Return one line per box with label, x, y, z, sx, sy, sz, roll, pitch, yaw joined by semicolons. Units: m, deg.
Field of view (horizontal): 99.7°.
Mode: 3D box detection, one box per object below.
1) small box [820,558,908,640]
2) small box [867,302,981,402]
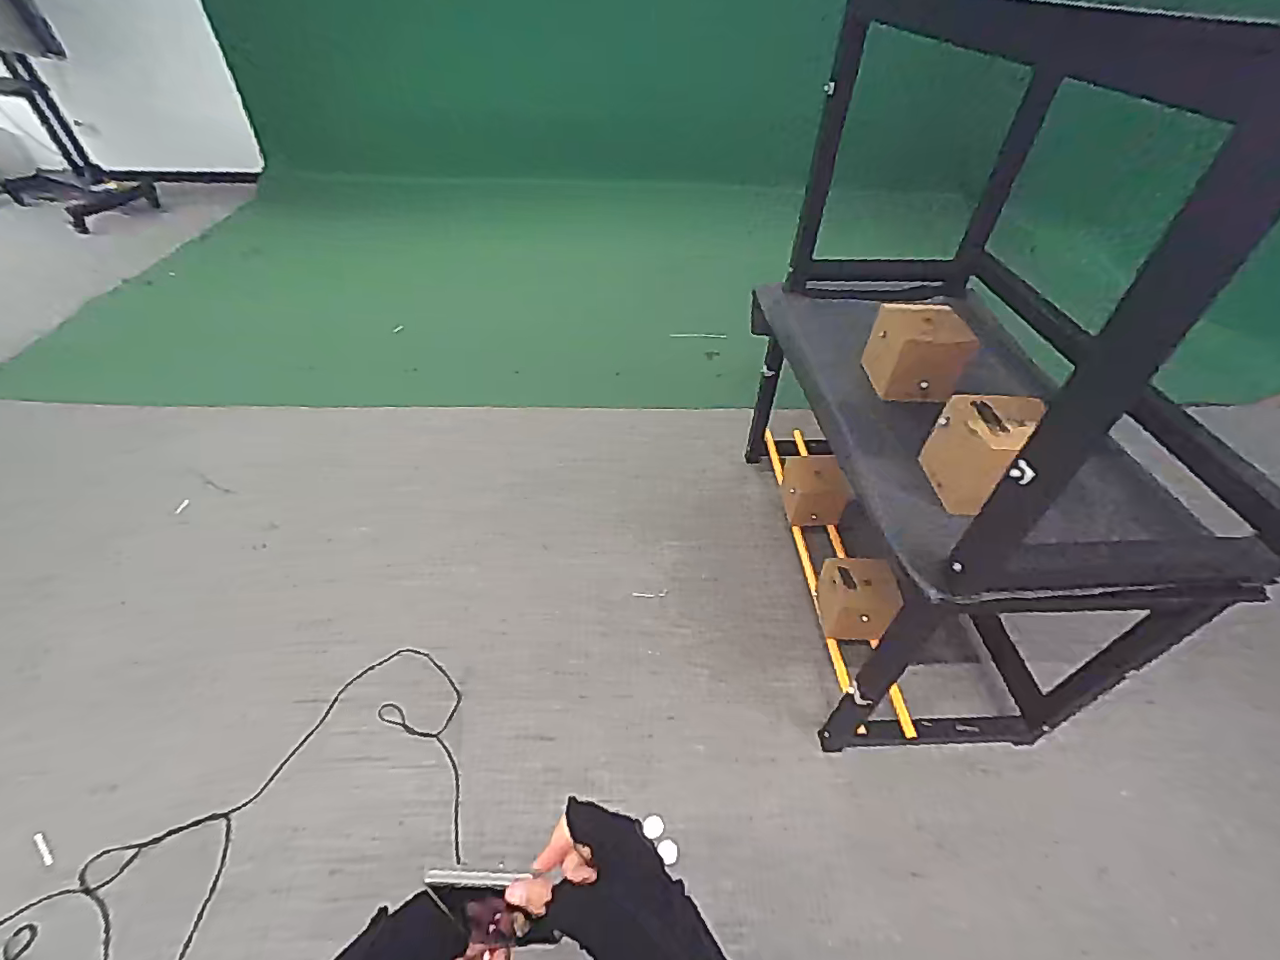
small box;0.620;0.339;1.527;0.179;0.176;0.168;2;44;0
small box;0.669;-0.308;1.301;0.168;0.176;0.179;1;44;0
